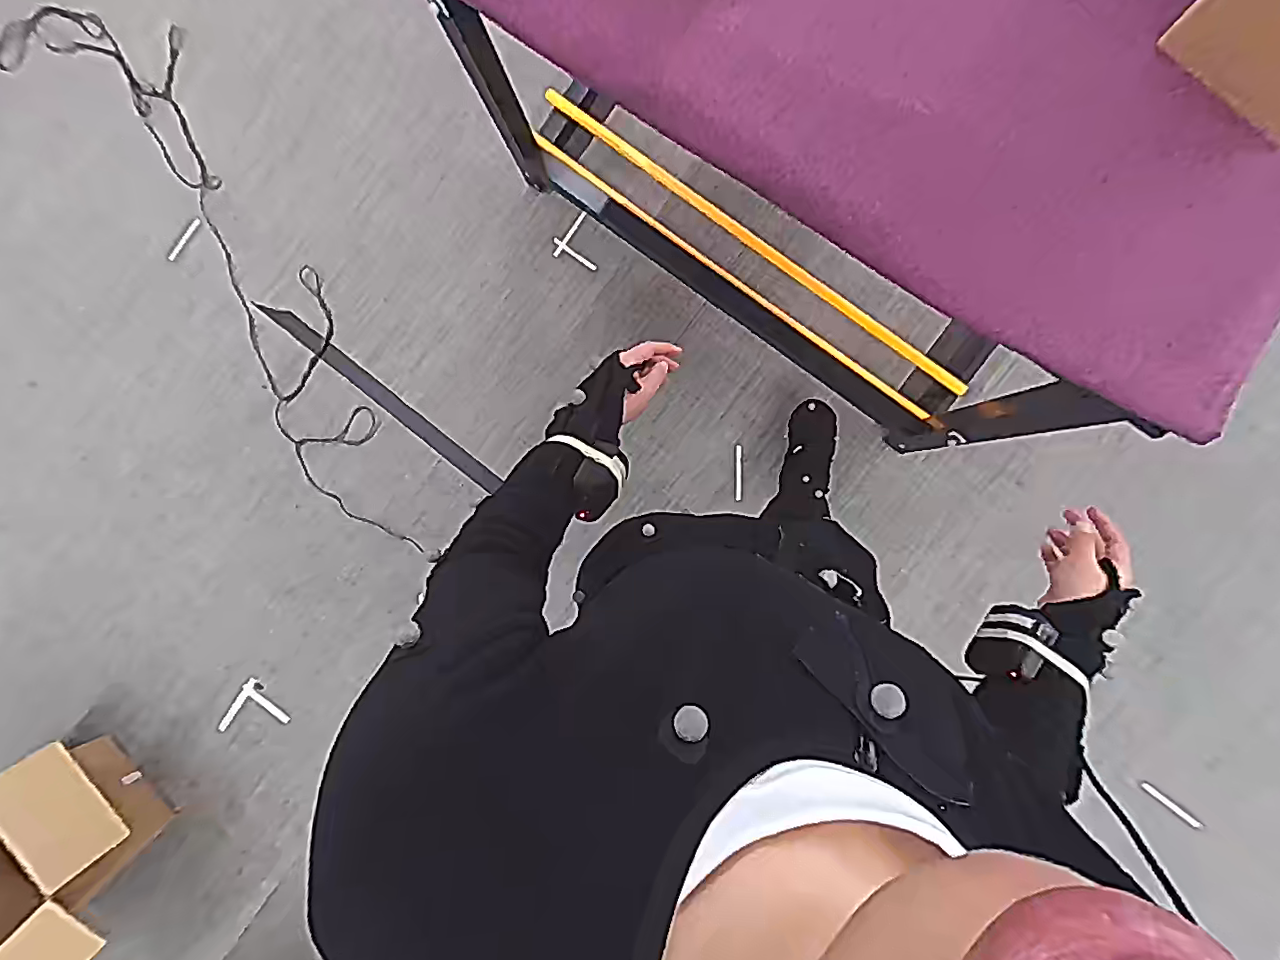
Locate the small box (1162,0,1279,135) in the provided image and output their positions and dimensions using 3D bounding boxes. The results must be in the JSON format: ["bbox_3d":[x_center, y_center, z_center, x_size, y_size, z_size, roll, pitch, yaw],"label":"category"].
[{"bbox_3d":[0.675,-0.479,0.509,0.179,0.176,0.168,43,95,2],"label":"small box"}]
